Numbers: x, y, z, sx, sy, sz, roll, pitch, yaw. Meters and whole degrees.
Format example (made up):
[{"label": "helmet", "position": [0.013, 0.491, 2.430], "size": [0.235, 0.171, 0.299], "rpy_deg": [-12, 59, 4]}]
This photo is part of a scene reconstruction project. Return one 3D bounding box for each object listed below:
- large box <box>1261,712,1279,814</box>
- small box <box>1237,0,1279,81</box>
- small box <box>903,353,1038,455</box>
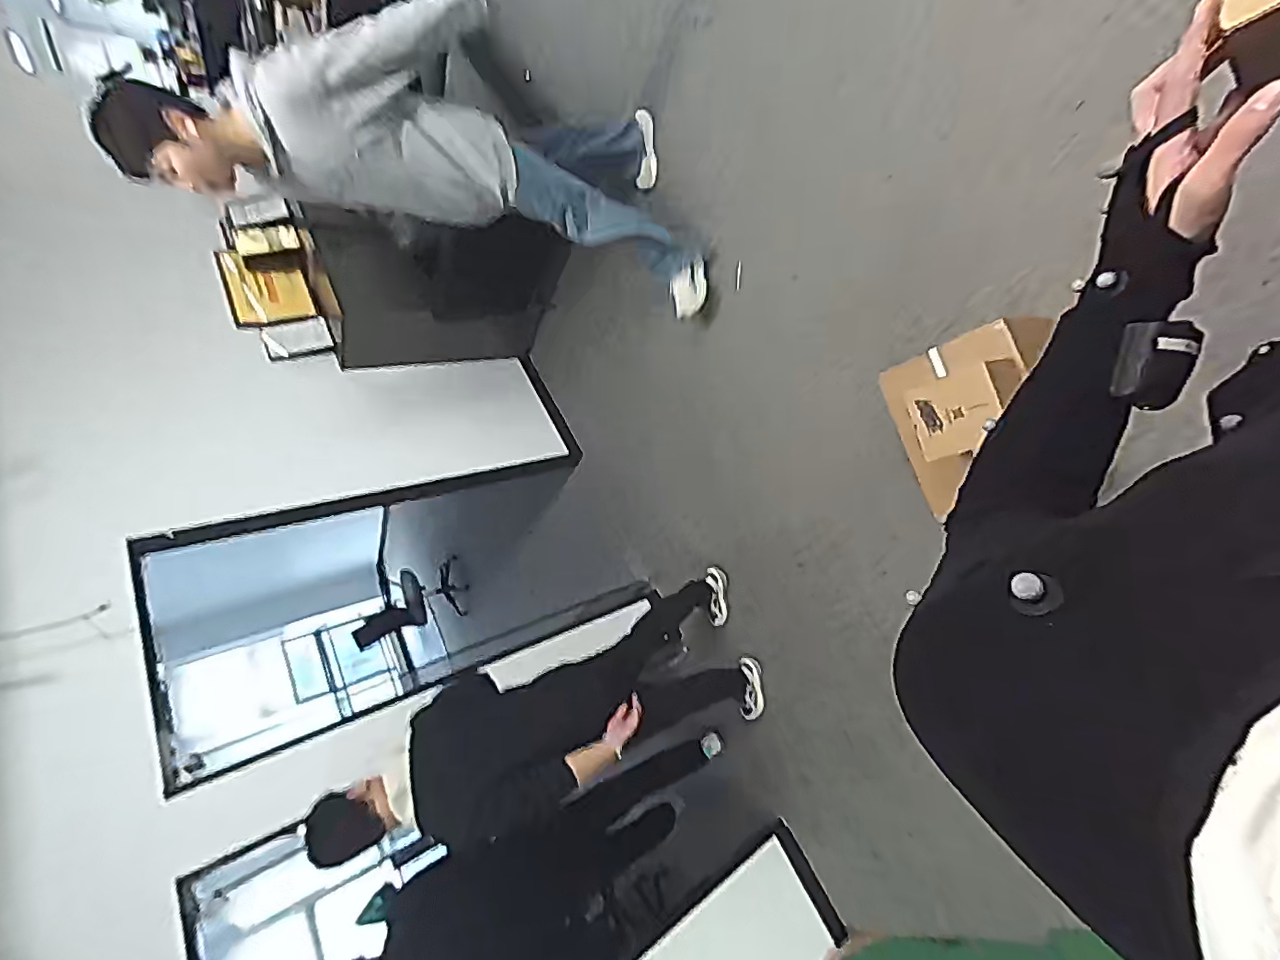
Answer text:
[{"label": "large box", "position": [1.405, 0.501, 0.903], "size": [0.408, 0.320, 0.320], "rpy_deg": [30, 125, 43]}, {"label": "small box", "position": [0.496, -0.396, 0.339], "size": [0.168, 0.176, 0.179], "rpy_deg": [-15, 83, 55]}, {"label": "small box", "position": [0.717, -0.164, 1.174], "size": [0.179, 0.176, 0.168], "rpy_deg": [-24, 82, 52]}]
